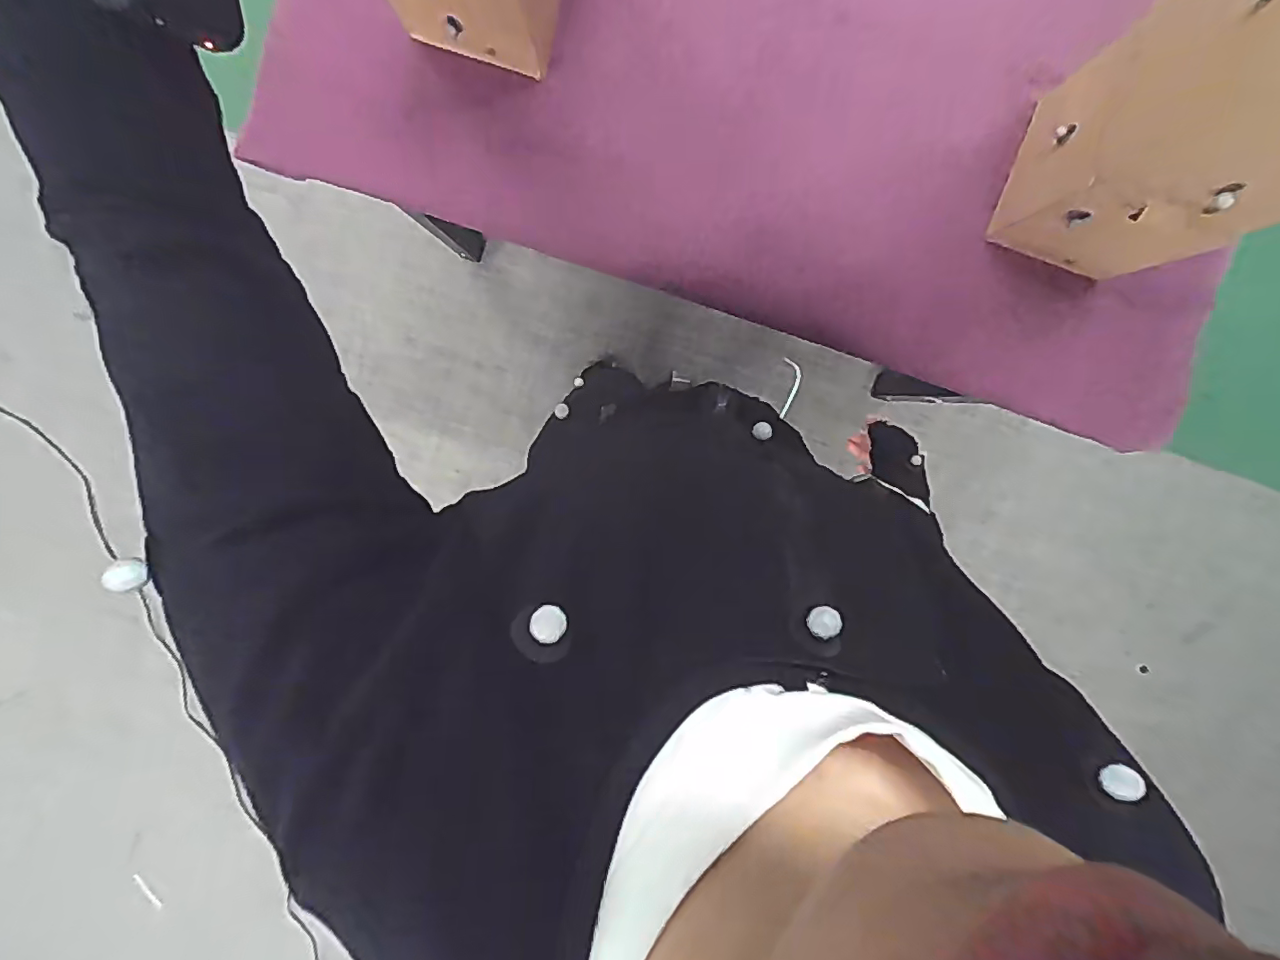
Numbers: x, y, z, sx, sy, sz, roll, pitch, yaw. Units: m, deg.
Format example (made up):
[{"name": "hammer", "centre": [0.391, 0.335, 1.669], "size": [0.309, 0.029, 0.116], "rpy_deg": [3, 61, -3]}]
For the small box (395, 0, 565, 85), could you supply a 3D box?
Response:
[{"name": "small box", "centre": [-0.171, -0.574, 0.570], "size": [0.168, 0.176, 0.179], "rpy_deg": [15, 99, -4]}]
